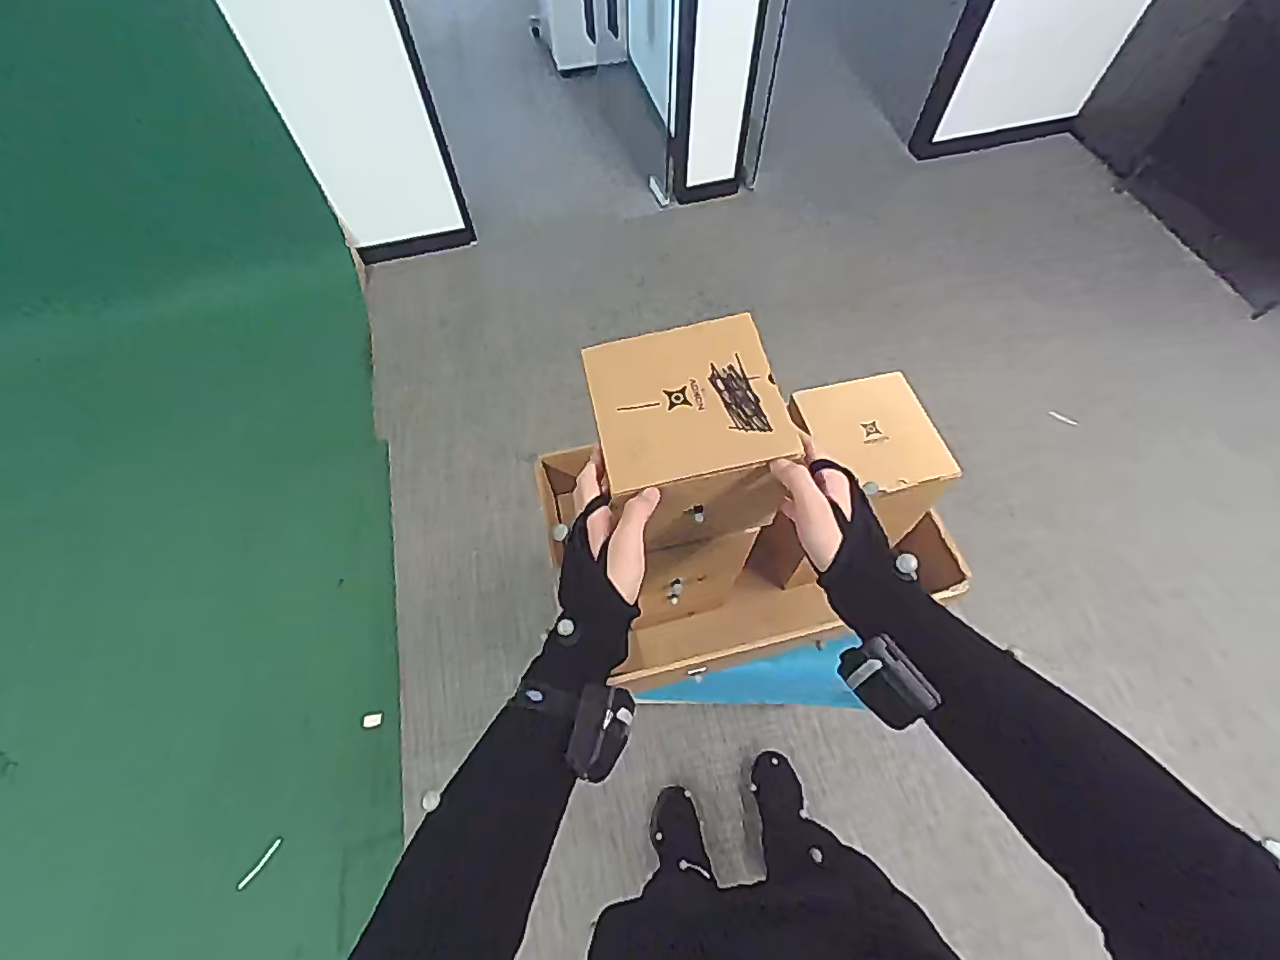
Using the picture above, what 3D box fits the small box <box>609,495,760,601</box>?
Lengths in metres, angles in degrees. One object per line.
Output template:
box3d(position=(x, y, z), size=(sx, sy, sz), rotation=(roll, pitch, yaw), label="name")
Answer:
box3d(position=(0.048, 0.047, 0.750), size=(0.168, 0.176, 0.179), rotation=(-12, 61, -5), label="small box")

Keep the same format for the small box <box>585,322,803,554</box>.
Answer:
box3d(position=(0.047, -0.036, 0.576), size=(0.179, 0.176, 0.168), rotation=(-12, 63, -3), label="small box")

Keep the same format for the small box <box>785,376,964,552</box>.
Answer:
box3d(position=(0.311, -0.019, 0.780), size=(0.168, 0.176, 0.179), rotation=(-12, 61, -5), label="small box")
